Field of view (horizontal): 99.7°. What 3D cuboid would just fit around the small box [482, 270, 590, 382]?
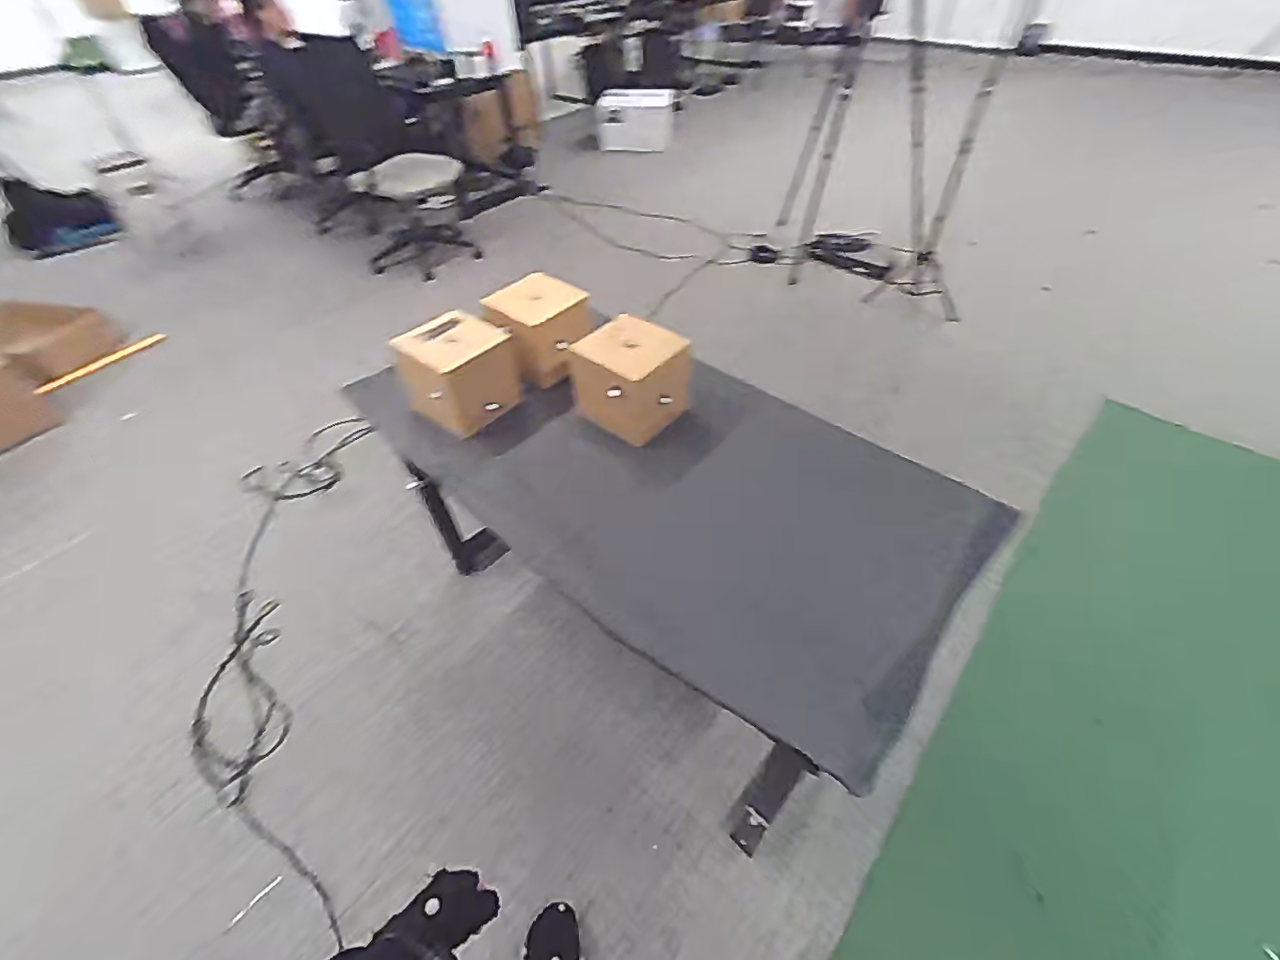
[{"bbox_3d":[-0.226,-0.348,1.239,0.179,0.176,0.168,31,56,28],"label":"small box"}]

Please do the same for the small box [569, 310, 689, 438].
[{"bbox_3d":[-0.018,-0.210,1.098,0.179,0.176,0.168,32,56,27],"label":"small box"}]
